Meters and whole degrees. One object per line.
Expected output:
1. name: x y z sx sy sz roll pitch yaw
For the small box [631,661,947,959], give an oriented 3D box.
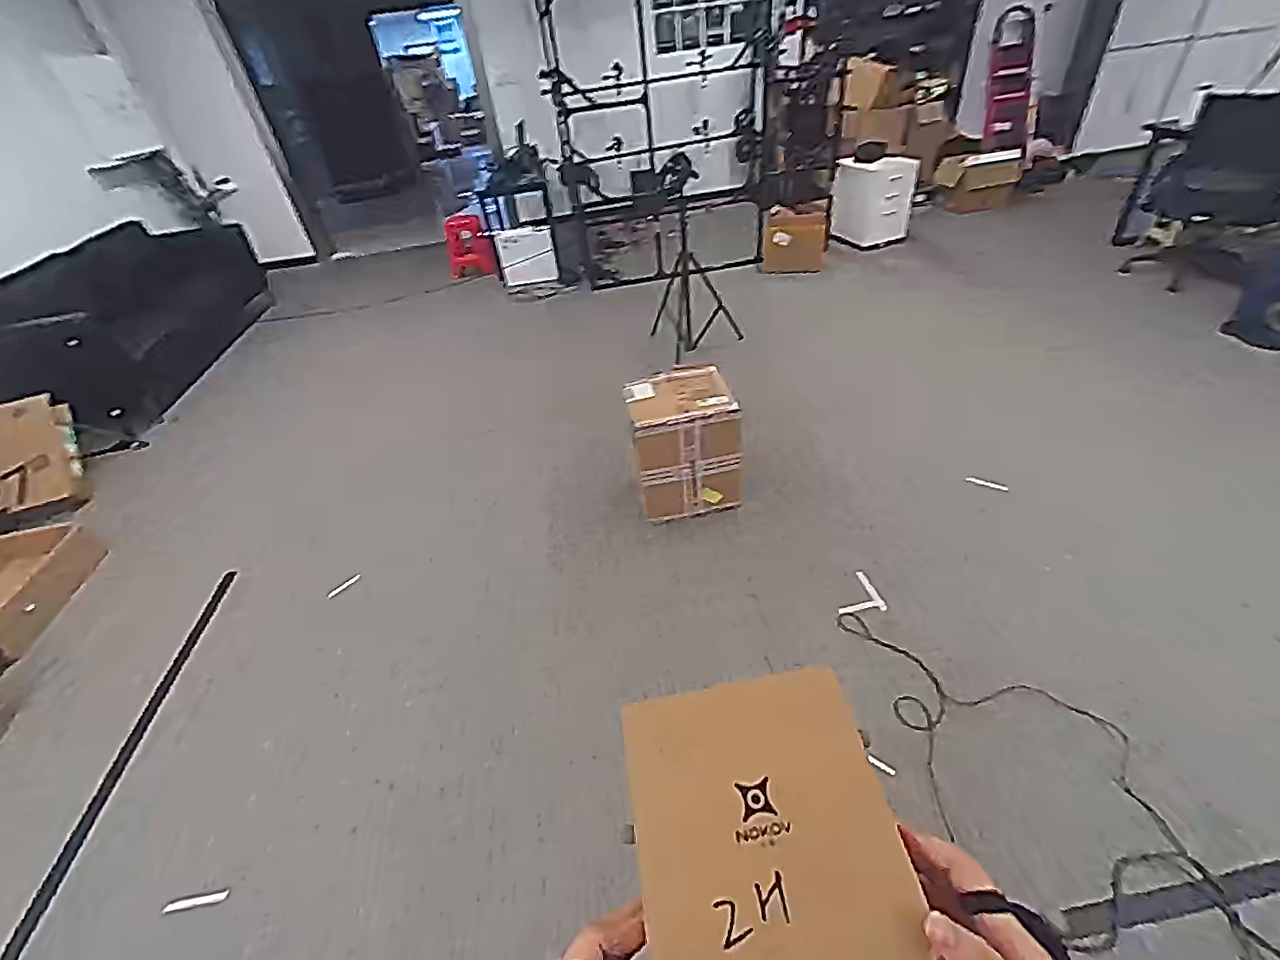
1. small box: 0.093 0.269 0.417 0.168 0.176 0.179 -12 46 1
